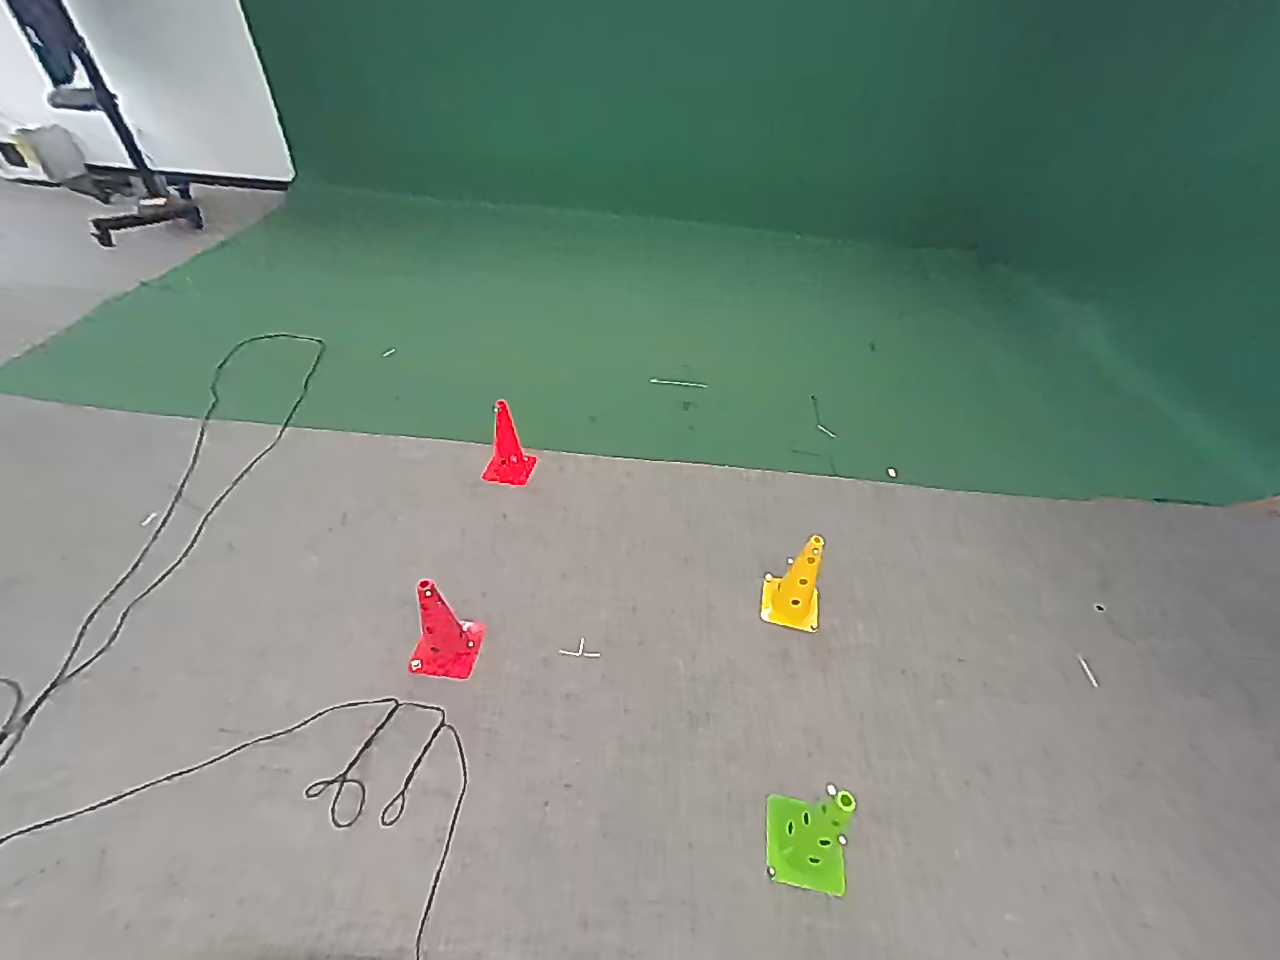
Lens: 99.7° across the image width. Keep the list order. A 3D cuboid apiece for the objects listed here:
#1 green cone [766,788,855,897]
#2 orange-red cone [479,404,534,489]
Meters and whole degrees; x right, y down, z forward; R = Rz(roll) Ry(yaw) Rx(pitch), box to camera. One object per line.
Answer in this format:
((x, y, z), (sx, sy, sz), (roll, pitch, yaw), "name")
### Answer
((0.446, 0.839, 1.312), (0.200, 0.368, 0.202), (10, 42, 4), "green cone")
((-0.579, -0.162, 2.268), (0.199, 0.360, 0.198), (9, 43, 7), "orange-red cone")
